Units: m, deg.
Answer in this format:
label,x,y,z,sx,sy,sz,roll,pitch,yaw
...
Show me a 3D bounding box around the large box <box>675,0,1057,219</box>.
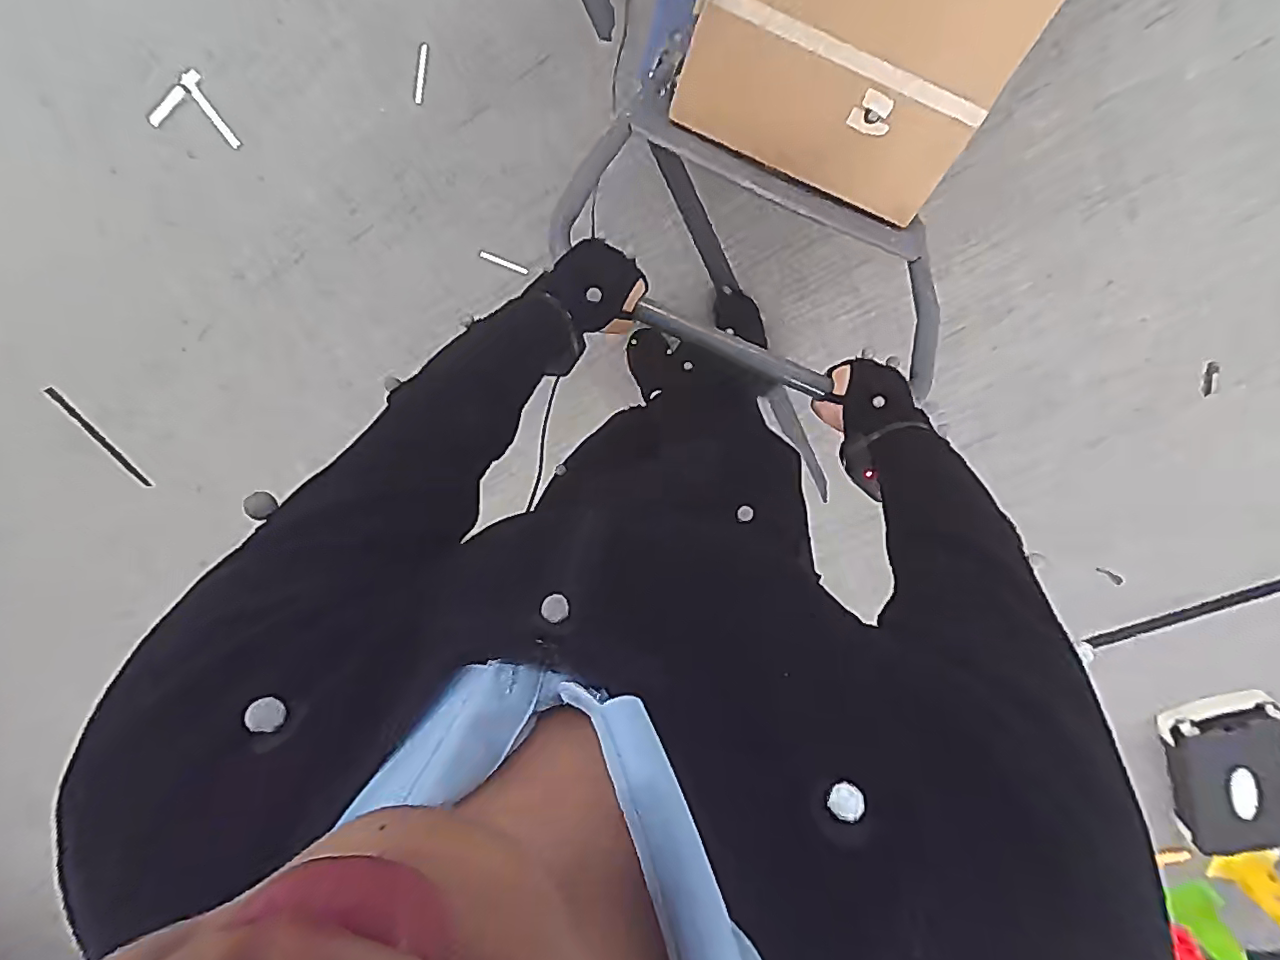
label,x,y,z,sx,sy,sz,roll,pitch,yaw
large box,0.308,-0.674,0.824,0.408,0.320,0.320,22,138,-5
